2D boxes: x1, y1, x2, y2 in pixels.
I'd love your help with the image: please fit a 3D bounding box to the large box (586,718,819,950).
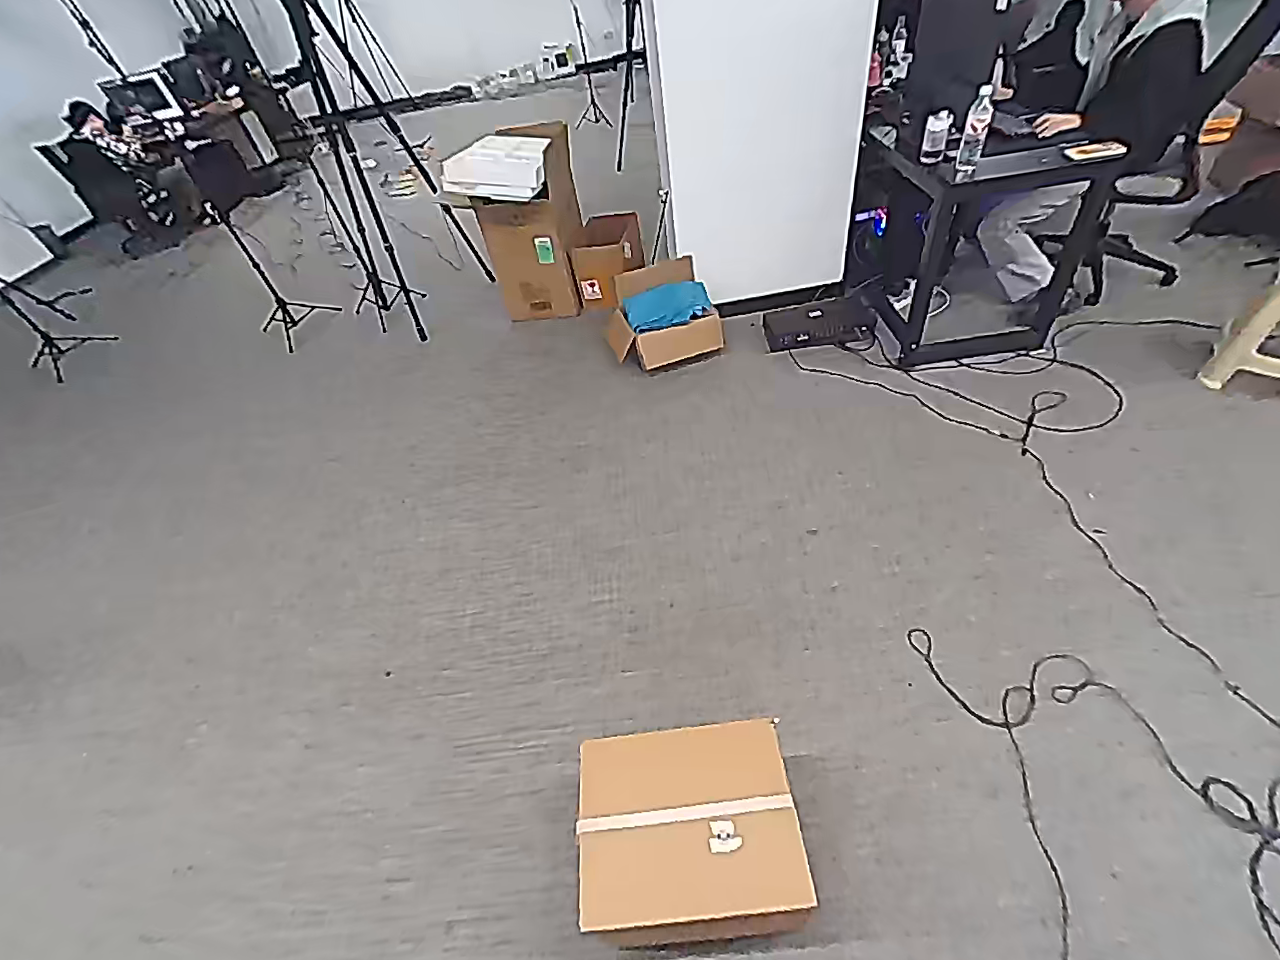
[{"bbox_3d":[0.113,0.733,1.119,0.408,0.320,0.320,-8,45,3],"label":"large box"}]
